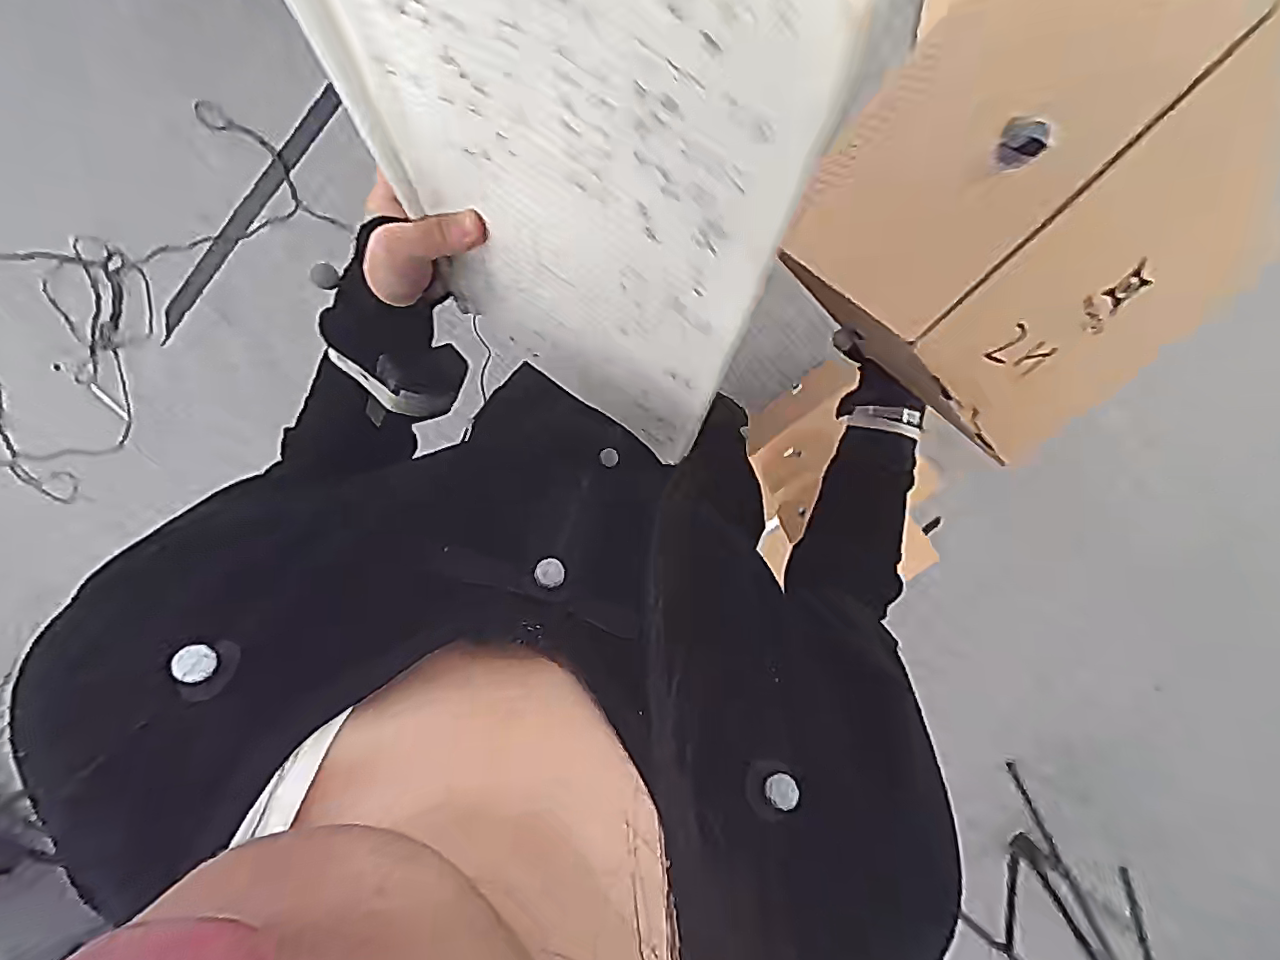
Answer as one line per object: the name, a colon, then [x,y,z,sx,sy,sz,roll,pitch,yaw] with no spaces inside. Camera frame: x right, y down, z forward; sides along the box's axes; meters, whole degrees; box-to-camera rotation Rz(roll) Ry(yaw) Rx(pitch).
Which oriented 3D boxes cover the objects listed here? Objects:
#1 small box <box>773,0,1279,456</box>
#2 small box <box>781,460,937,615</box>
small box: [0.217,-0.153,0.328,0.168,0.176,0.179,27,116,-38]
small box: [0.363,0.093,0.940,0.179,0.176,0.168,-38,102,13]
